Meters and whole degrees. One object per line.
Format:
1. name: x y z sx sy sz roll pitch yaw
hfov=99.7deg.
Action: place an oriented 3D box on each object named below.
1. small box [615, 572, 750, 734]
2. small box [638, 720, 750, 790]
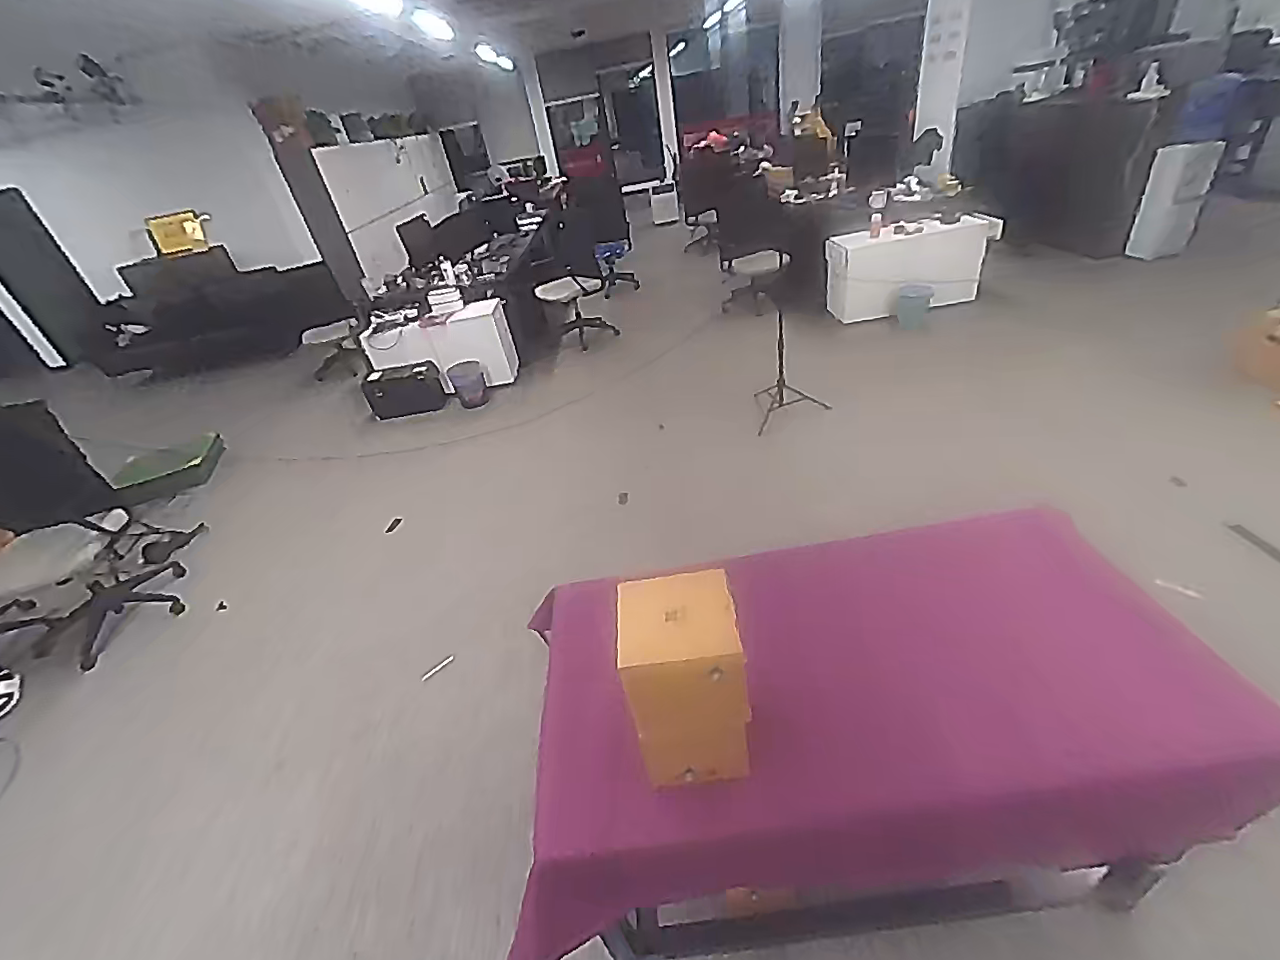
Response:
1. small box: 0.064 0.269 0.833 0.179 0.176 0.168 -9 34 5
2. small box: 0.089 0.397 0.930 0.168 0.176 0.179 -10 35 4
